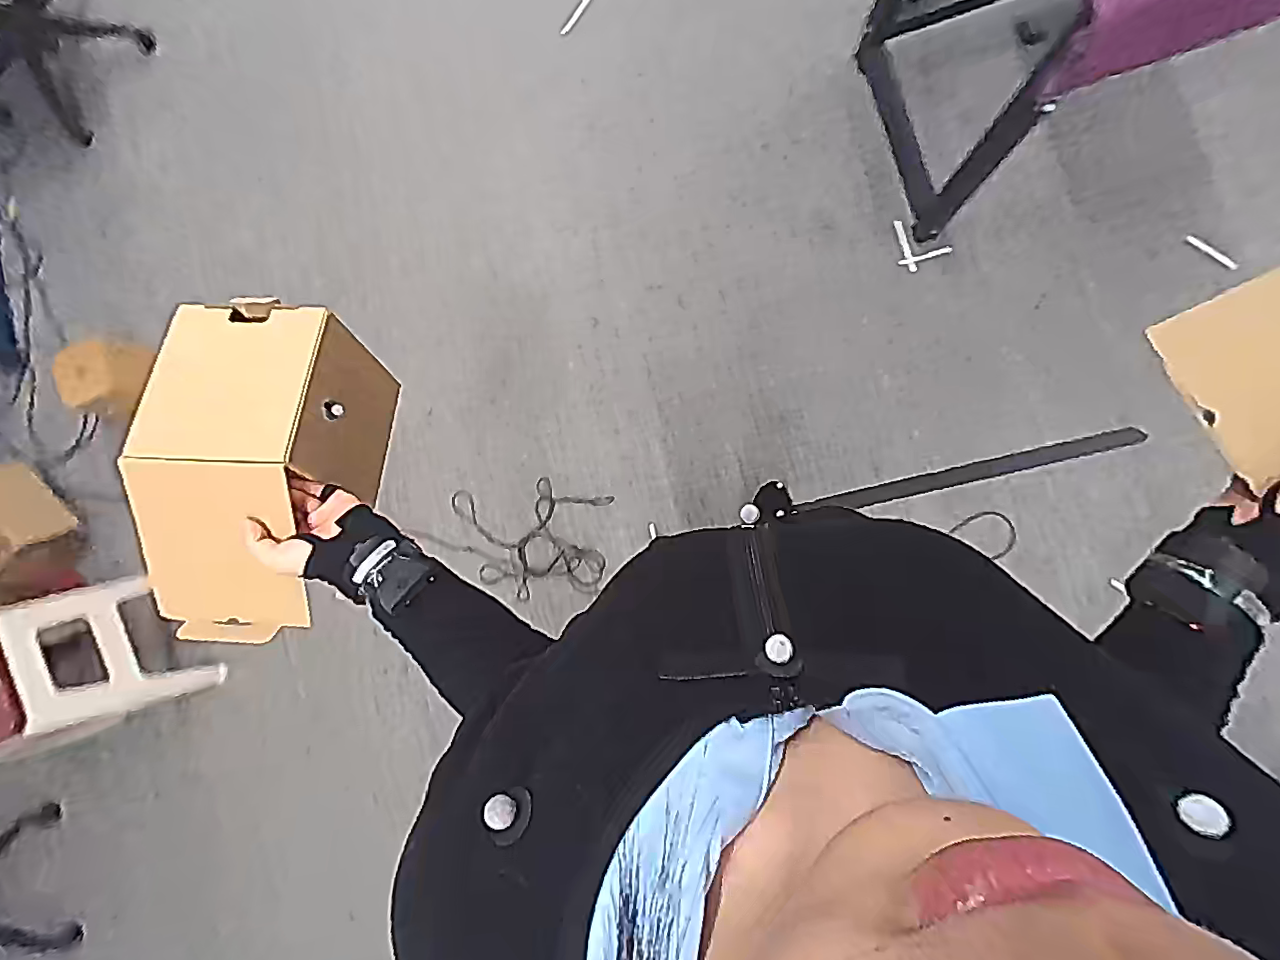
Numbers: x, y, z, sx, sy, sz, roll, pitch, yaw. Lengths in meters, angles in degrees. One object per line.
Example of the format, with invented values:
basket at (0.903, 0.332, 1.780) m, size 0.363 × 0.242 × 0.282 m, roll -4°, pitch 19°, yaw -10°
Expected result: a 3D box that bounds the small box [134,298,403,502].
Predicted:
small box at (-0.396, -0.081, 0.615) m, size 0.168 × 0.176 × 0.179 m, roll 3°, pitch 71°, yaw 3°
